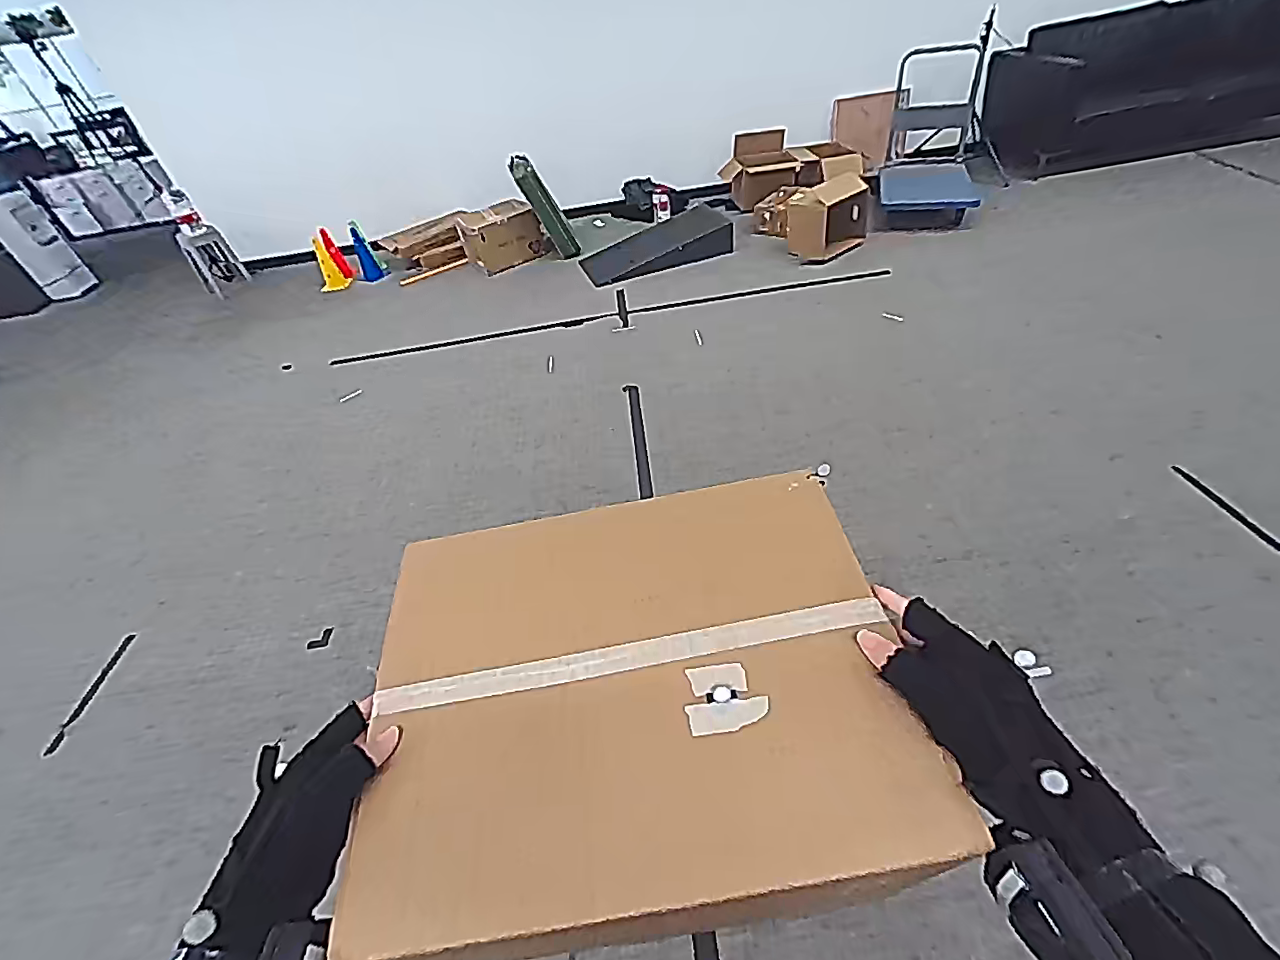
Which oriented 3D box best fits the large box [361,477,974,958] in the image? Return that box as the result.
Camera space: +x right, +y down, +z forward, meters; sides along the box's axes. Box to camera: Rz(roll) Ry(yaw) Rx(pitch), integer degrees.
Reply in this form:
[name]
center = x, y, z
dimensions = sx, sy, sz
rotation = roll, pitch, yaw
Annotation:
[large box]
center = 0.015, 0.243, 0.546
dimensions = 0.408, 0.320, 0.320
rotation = -10, 48, 0
